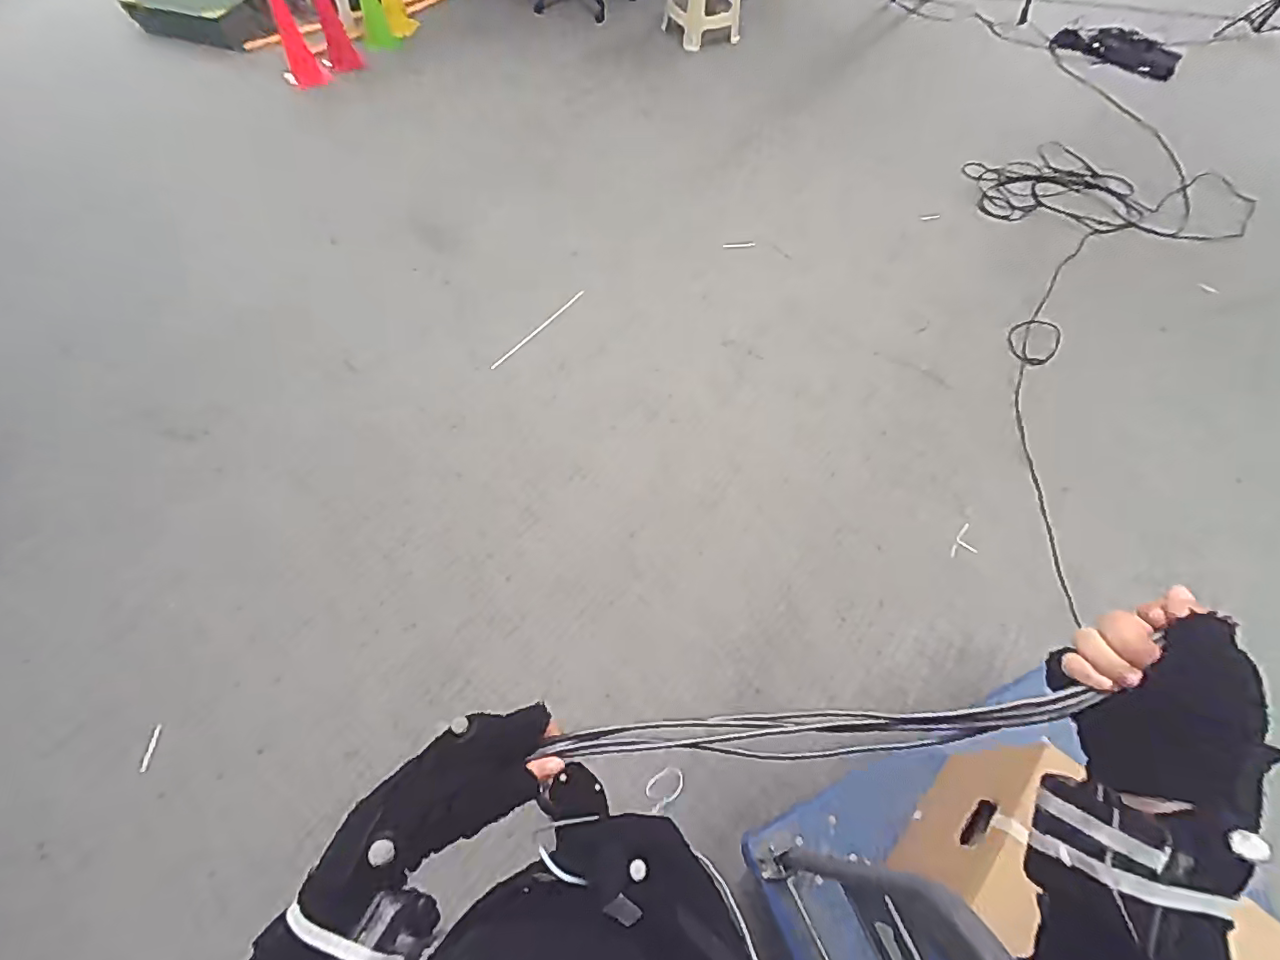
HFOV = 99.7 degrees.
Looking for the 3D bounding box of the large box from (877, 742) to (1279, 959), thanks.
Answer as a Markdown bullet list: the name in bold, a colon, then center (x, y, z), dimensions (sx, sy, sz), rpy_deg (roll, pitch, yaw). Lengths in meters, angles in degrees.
- **large box**: center (0.694, 0.712, 0.892), dimensions (0.408, 0.320, 0.320), rpy_deg (40, 67, 20)
